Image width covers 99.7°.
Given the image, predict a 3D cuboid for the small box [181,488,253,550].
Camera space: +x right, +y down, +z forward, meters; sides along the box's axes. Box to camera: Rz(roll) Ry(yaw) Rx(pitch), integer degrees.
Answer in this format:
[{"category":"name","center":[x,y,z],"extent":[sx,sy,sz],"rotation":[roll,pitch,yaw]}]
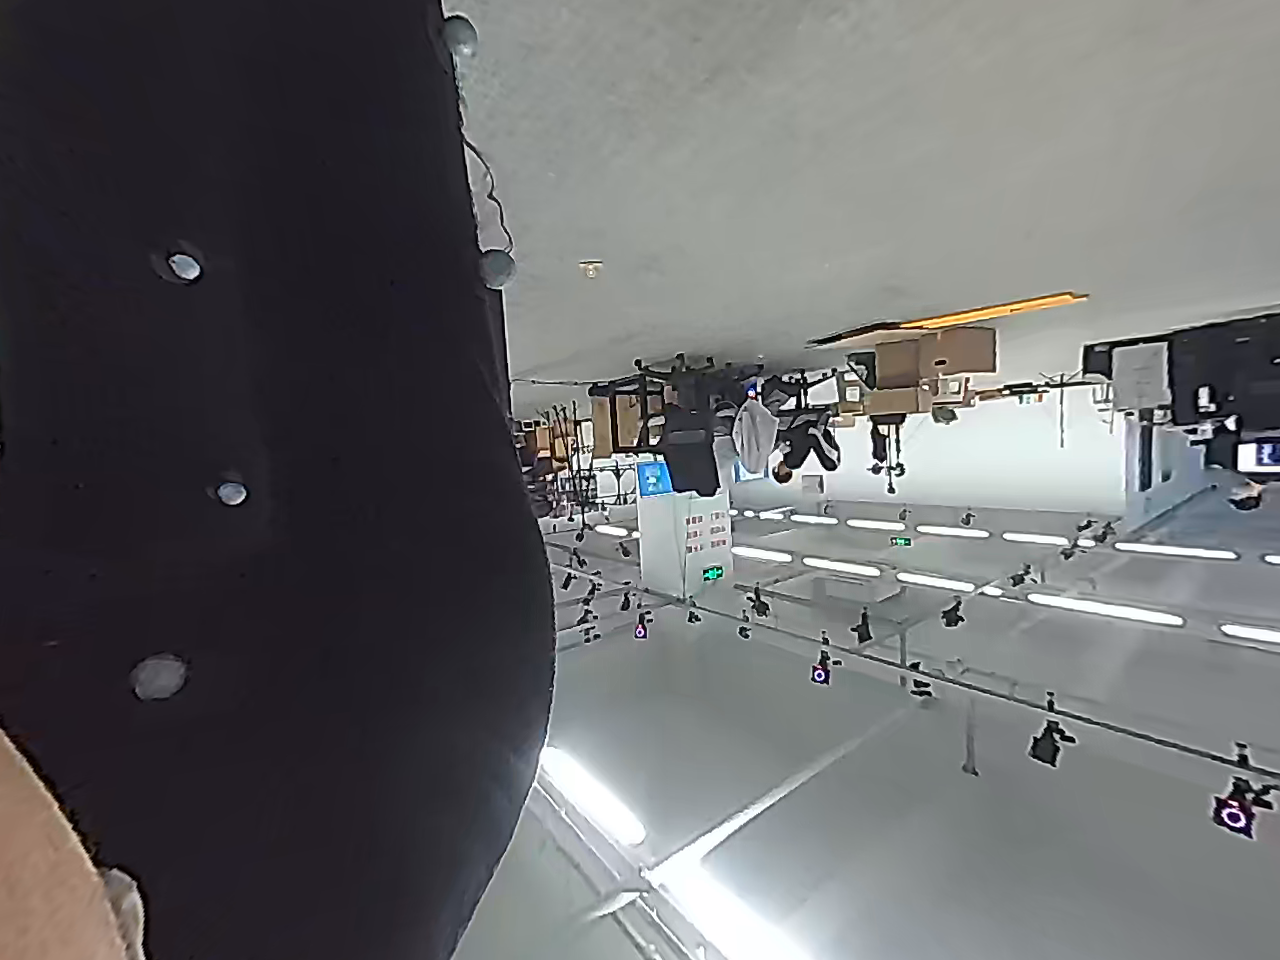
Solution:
[{"category":"small box","center":[-1.368,0.122,1.753],"extent":[0.168,0.176,0.179],"rotation":[-7,-174,-37]}]
